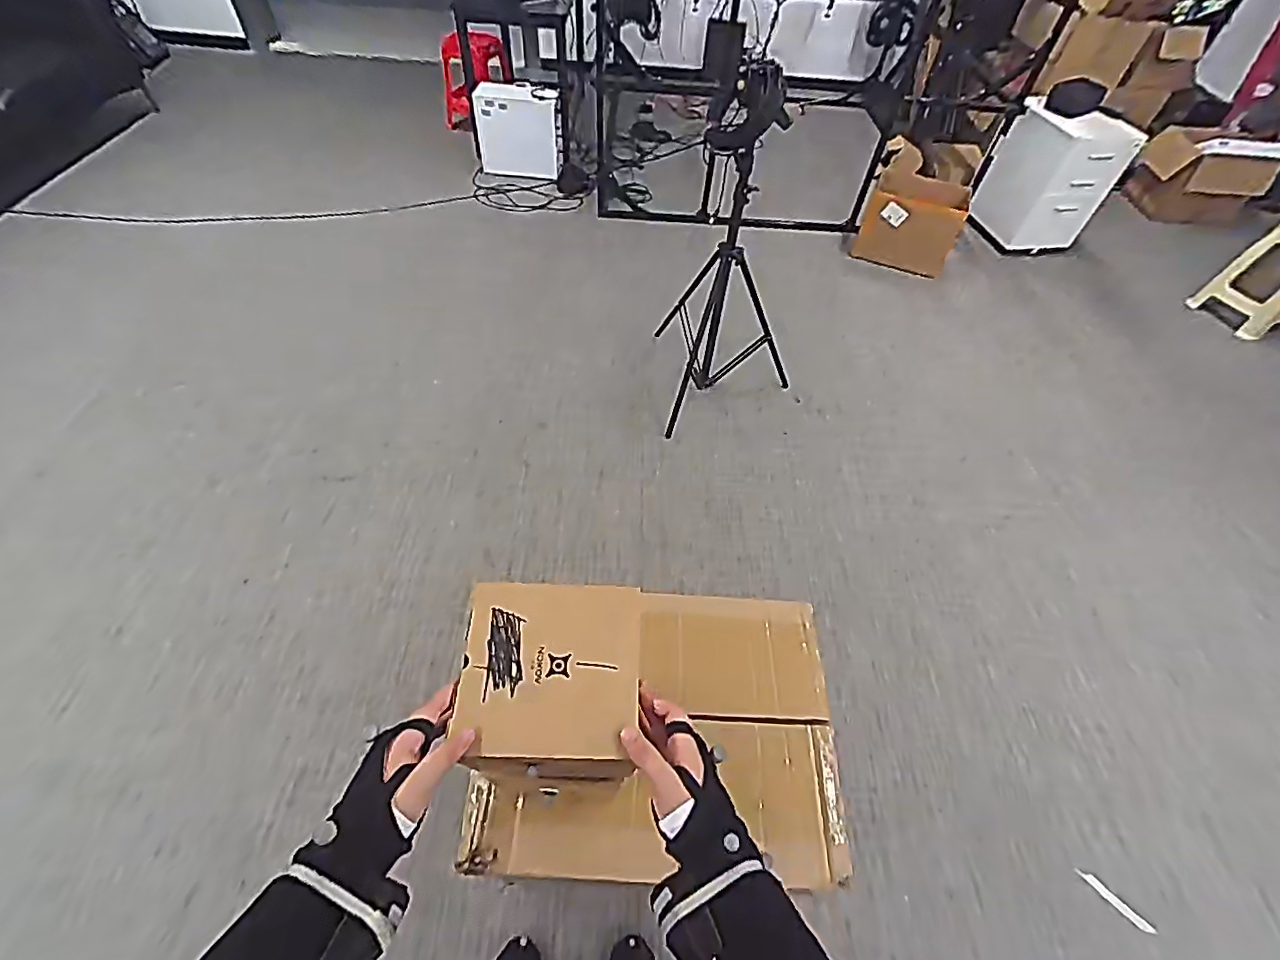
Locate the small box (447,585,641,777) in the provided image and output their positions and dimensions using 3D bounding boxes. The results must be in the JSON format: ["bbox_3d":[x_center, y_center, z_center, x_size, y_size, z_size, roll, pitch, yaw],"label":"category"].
[{"bbox_3d":[-0.090,0.228,0.599,0.179,0.176,0.168,2,56,-1],"label":"small box"}]

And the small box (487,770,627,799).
[{"bbox_3d":[-0.098,0.323,0.737,0.168,0.176,0.179,3,55,-1],"label":"small box"}]
